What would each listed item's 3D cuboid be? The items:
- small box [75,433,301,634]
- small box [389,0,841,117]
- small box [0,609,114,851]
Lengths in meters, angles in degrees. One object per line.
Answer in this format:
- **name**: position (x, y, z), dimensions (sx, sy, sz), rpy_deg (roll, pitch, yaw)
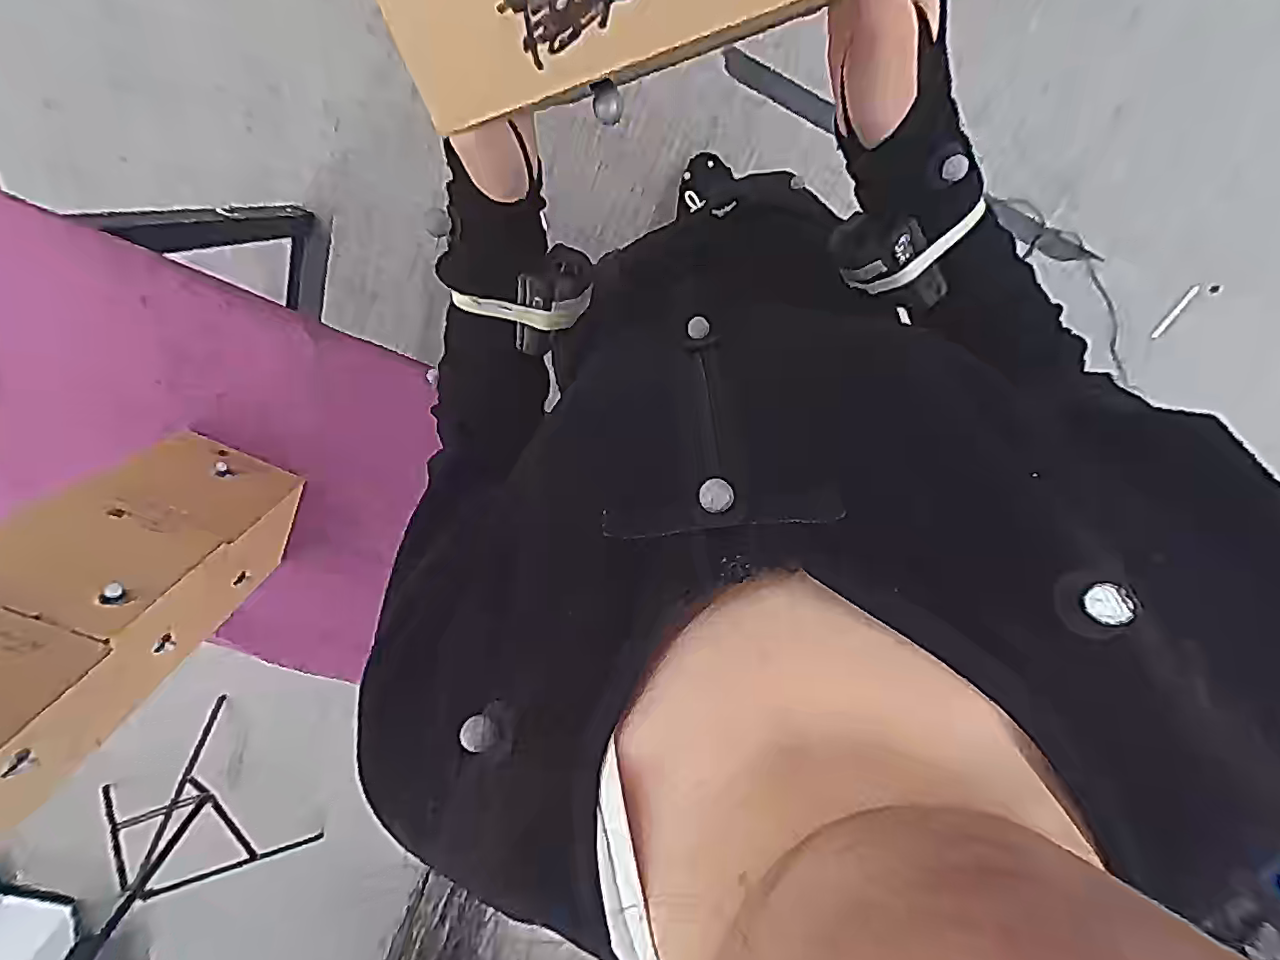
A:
- **small box**: position (-0.598, 0.067, 0.734), dimensions (0.168, 0.176, 0.179), rpy_deg (26, 115, -14)
- **small box**: position (-0.007, -0.261, 0.197), dimensions (0.168, 0.176, 0.179), rpy_deg (-6, 126, 18)
- **small box**: position (-0.593, 0.218, 0.444), dimensions (0.168, 0.176, 0.179), rpy_deg (28, 116, -13)
